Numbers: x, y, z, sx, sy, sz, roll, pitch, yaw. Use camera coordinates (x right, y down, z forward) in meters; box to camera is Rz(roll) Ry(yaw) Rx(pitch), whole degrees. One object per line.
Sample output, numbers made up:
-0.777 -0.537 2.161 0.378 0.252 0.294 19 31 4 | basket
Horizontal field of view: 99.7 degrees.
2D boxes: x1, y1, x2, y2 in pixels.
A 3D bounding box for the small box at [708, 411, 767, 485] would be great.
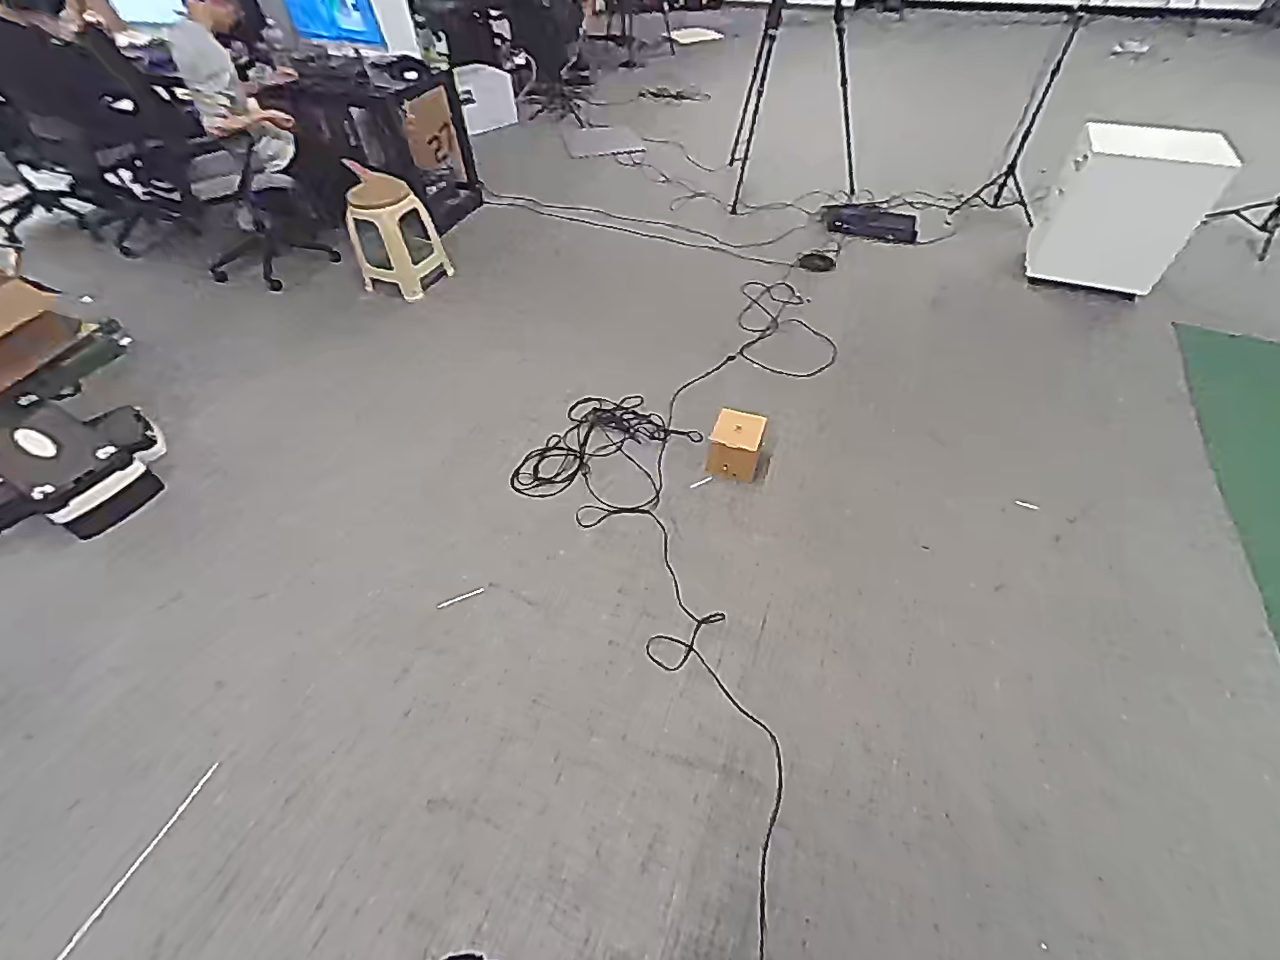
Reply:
0.343 -0.114 1.933 0.168 0.176 0.179 14 52 15 | small box
